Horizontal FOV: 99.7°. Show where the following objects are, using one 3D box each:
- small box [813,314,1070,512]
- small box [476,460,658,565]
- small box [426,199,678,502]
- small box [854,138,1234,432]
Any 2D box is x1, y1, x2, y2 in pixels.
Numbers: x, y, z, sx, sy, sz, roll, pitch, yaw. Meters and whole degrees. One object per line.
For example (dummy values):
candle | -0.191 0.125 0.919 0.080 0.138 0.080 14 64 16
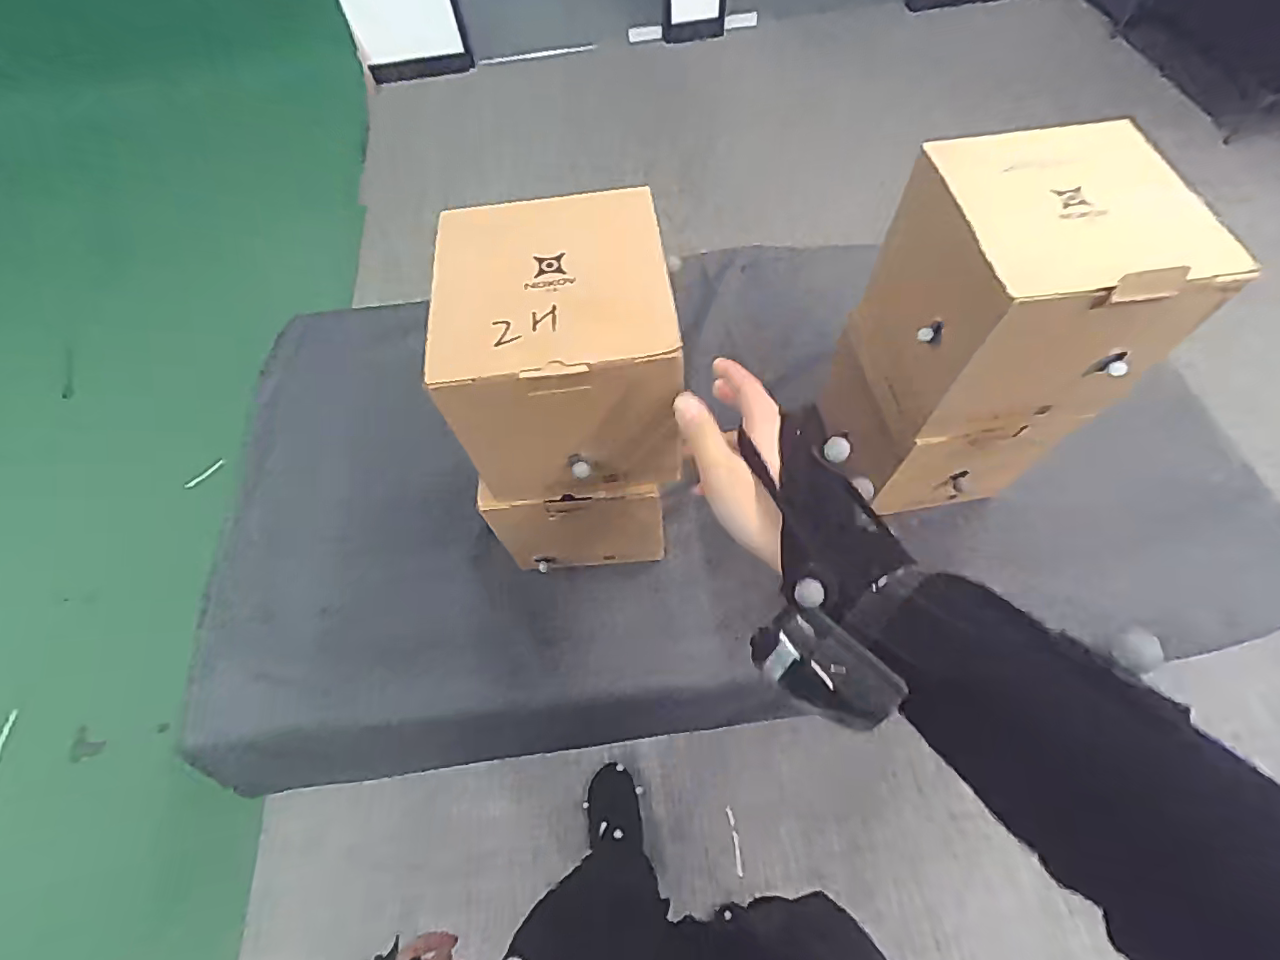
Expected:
small box | 0.313 -0.075 0.609 0.168 0.176 0.179 -9 61 -2
small box | -0.068 -0.012 0.597 0.168 0.176 0.179 -4 60 1
small box | -0.061 -0.102 0.458 0.168 0.176 0.179 -7 61 0
small box | 0.309 -0.154 0.467 0.168 0.176 0.179 -7 60 -1
